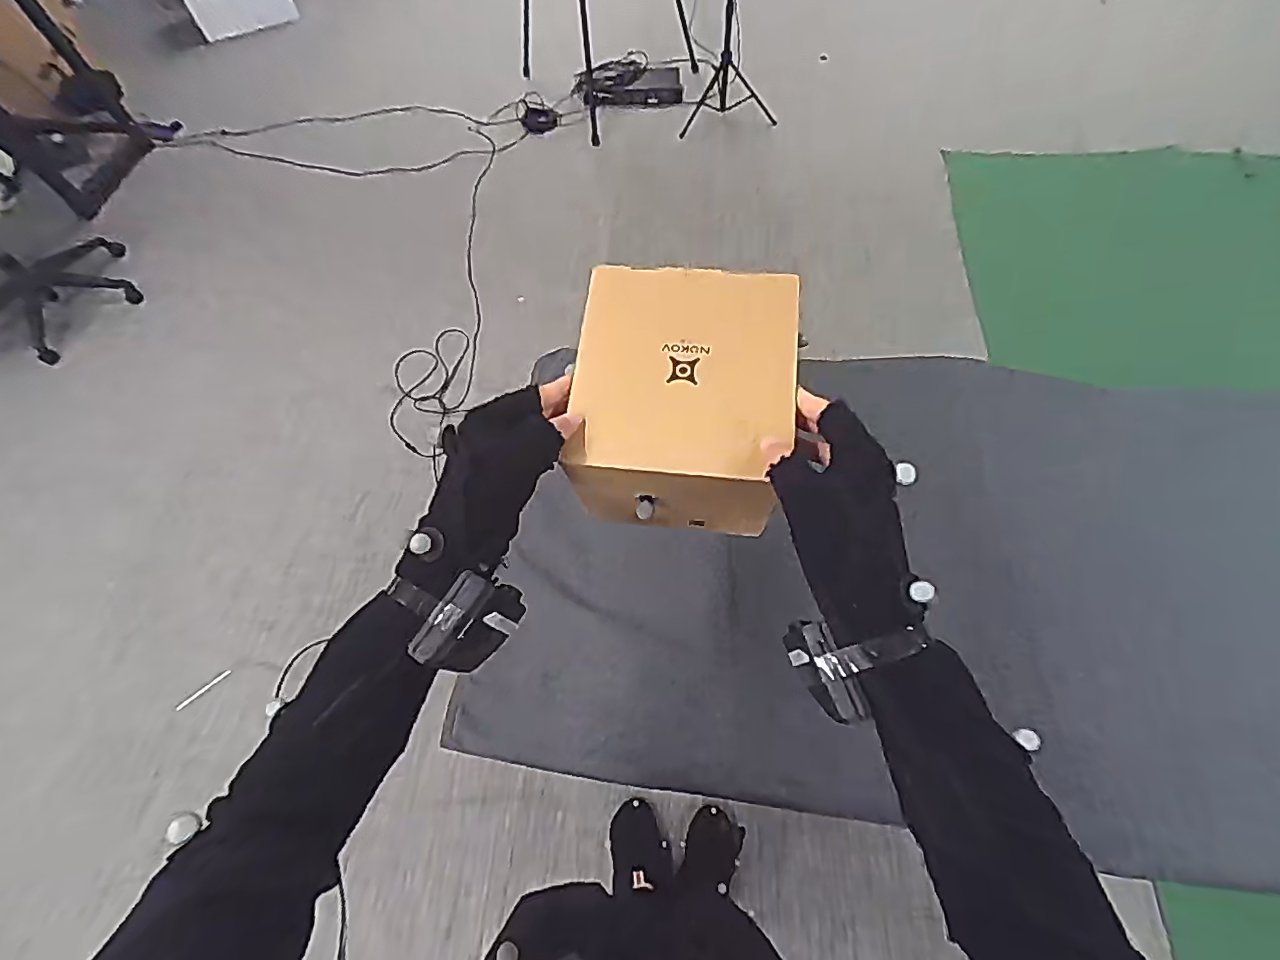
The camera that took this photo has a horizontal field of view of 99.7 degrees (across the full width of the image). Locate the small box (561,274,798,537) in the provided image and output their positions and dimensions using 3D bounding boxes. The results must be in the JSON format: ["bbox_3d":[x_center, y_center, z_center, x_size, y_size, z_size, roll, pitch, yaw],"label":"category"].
[{"bbox_3d":[0.040,-0.054,0.479,0.168,0.176,0.179,5,70,6],"label":"small box"}]
